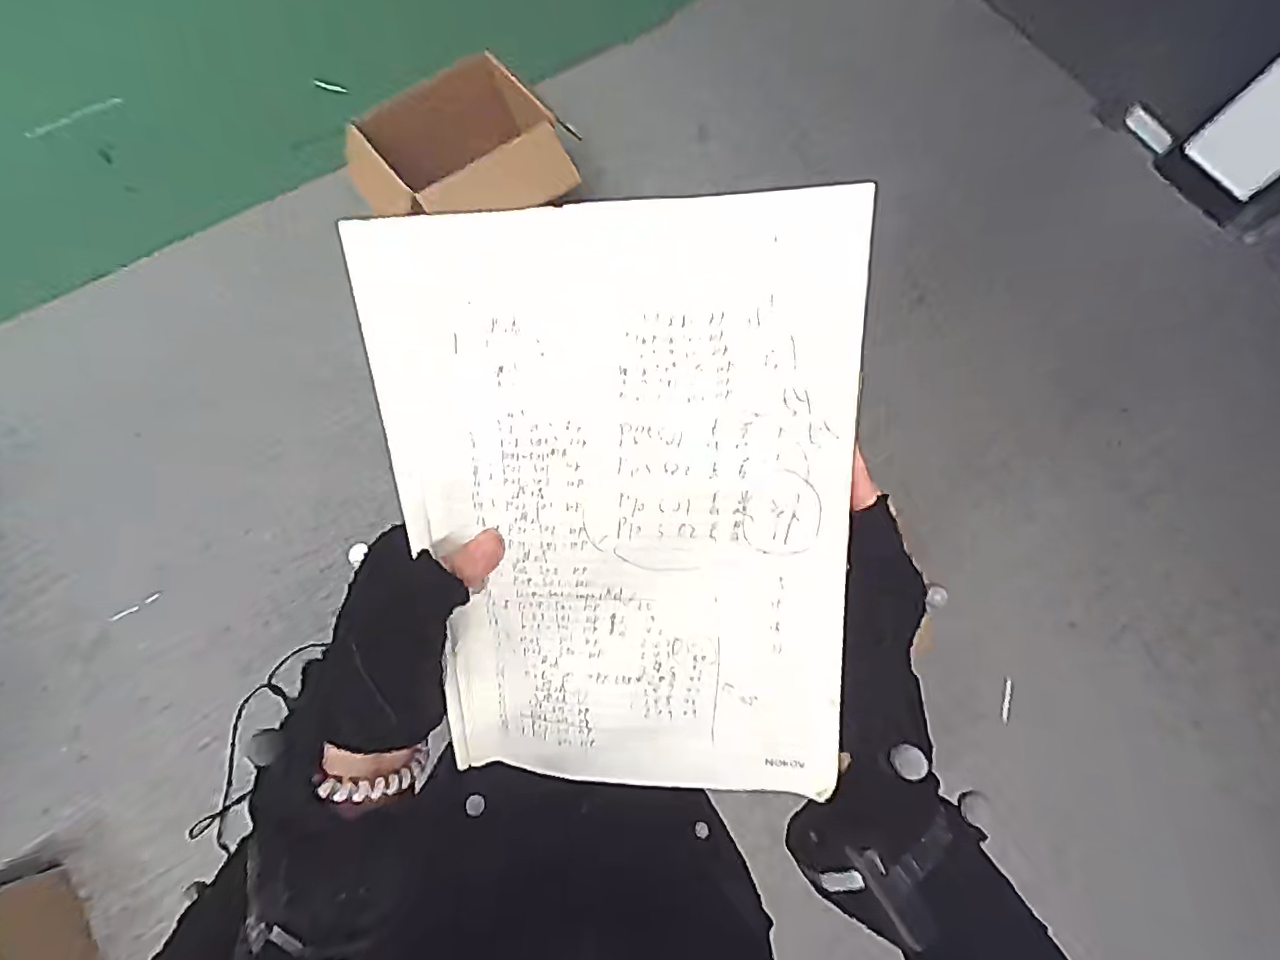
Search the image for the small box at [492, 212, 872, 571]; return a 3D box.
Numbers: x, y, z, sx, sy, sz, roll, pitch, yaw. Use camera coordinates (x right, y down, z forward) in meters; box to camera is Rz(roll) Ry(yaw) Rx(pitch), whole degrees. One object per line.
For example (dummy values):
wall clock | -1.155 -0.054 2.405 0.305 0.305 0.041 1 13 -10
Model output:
small box | 0.020 -0.050 0.341 0.179 0.176 0.168 4 97 2
